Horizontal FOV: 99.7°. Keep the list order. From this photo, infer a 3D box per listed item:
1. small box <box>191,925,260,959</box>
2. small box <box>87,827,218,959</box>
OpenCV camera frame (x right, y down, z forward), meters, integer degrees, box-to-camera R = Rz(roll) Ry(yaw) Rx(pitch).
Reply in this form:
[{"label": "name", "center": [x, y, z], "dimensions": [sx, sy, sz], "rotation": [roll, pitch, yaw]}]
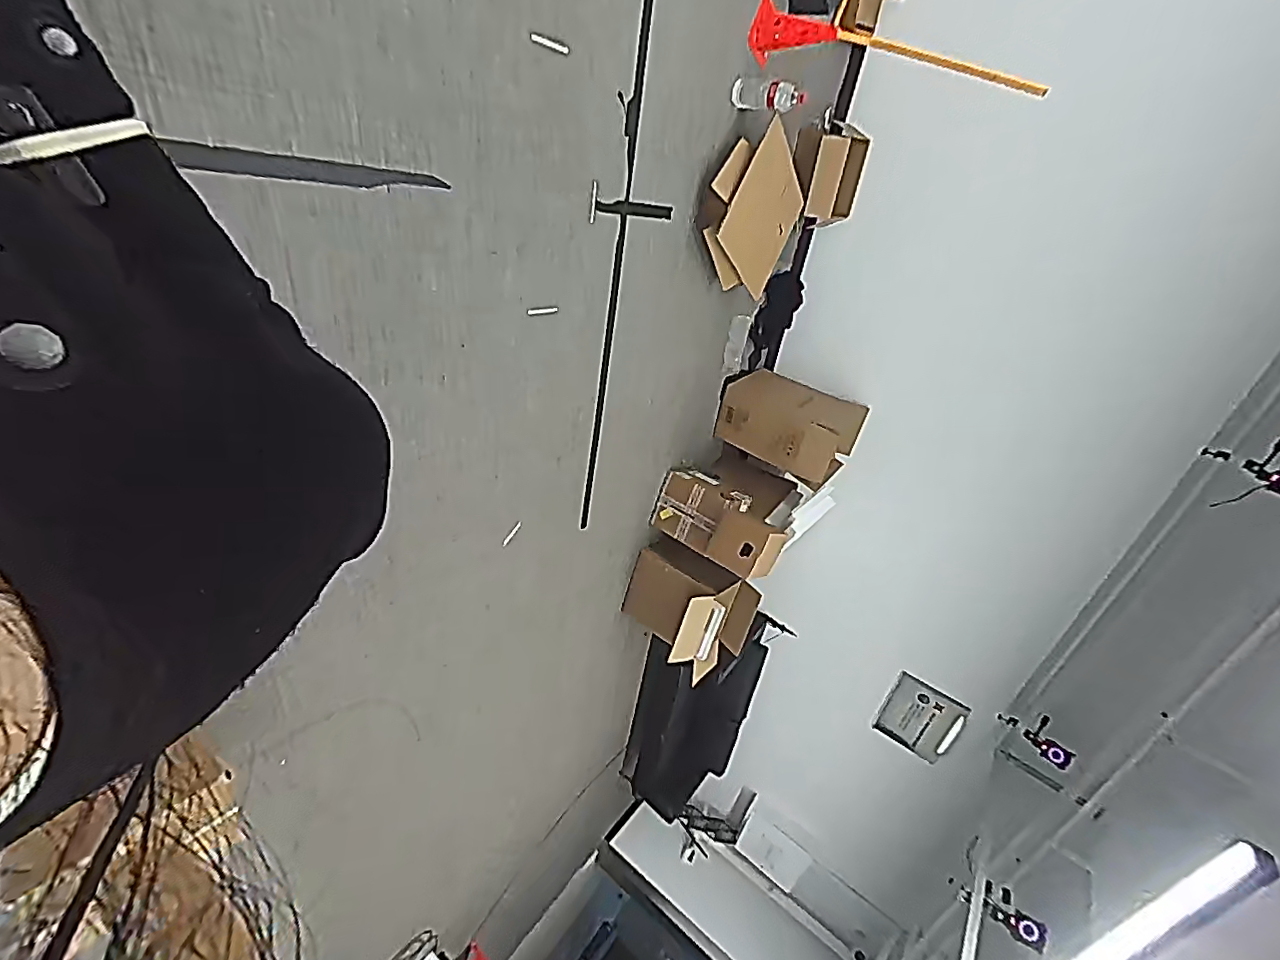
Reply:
[{"label": "small box", "center": [-0.914, 1.129, 1.158], "dimensions": [0.179, 0.176, 0.168], "rotation": [-25, 134, -50]}, {"label": "small box", "center": [-1.175, 0.995, 1.308], "dimensions": [0.179, 0.176, 0.168], "rotation": [-28, 135, -46]}]
